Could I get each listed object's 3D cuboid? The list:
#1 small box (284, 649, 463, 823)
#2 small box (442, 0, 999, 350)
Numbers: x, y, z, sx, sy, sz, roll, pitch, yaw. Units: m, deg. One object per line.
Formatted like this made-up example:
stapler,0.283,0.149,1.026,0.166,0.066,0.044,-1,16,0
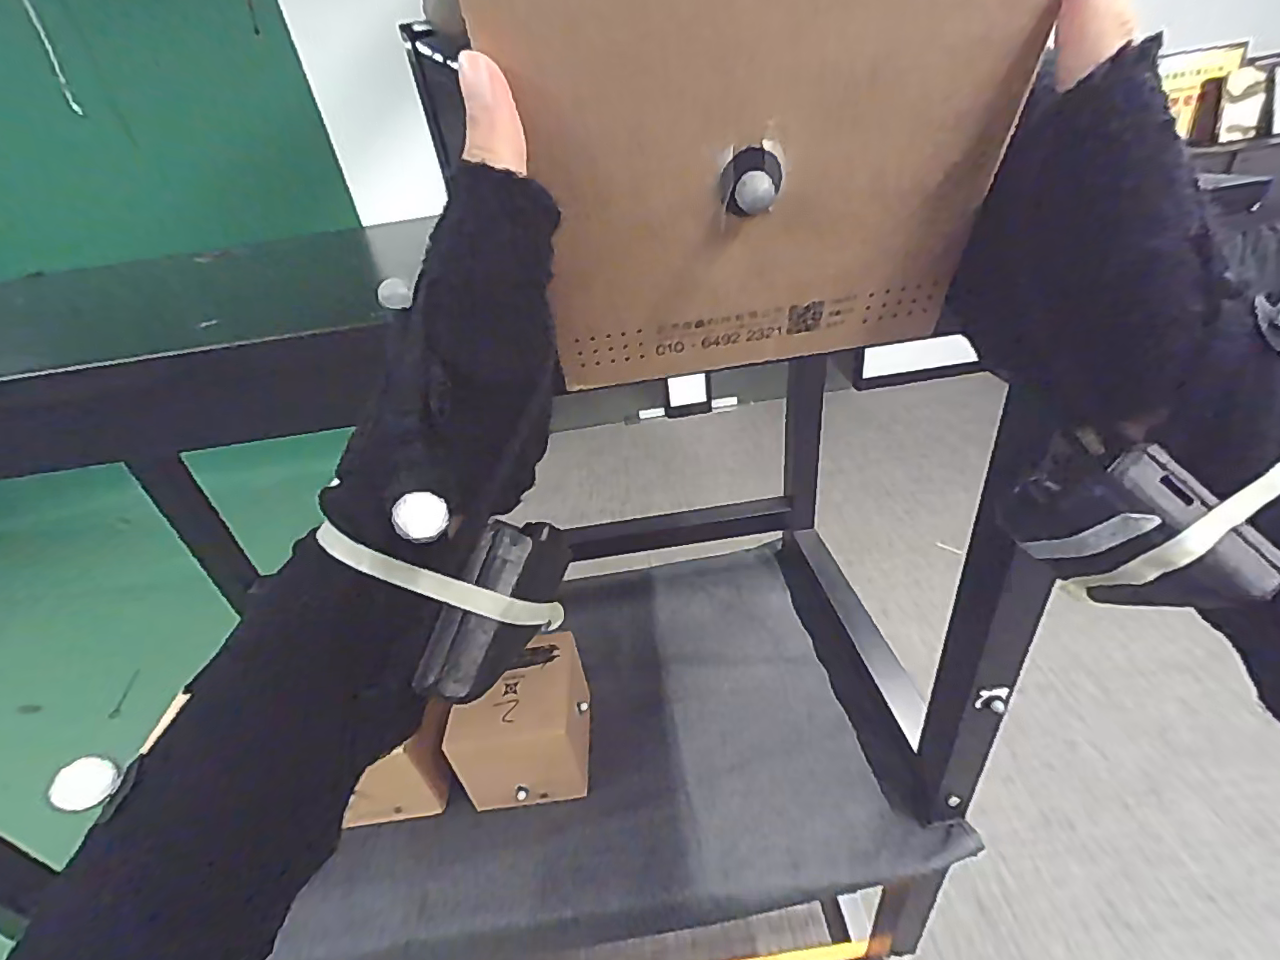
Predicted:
small box,-0.385,0.391,0.822,0.168,0.176,0.179,-8,31,0
small box,0.025,-0.171,0.231,0.168,0.176,0.179,-9,51,0
